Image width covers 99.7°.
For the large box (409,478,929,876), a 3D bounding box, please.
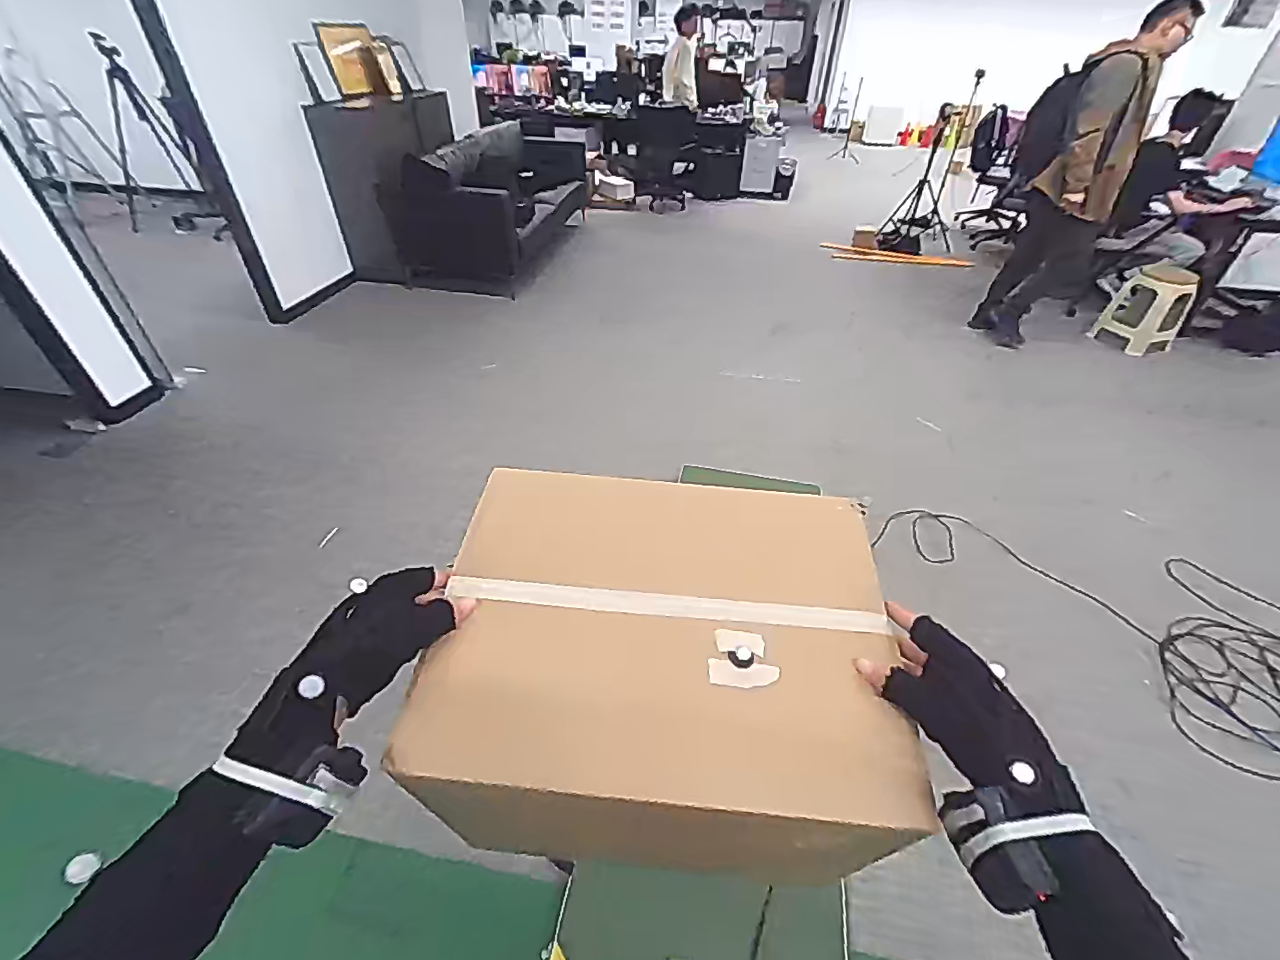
[{"bbox_3d":[0.023,0.224,0.614,0.408,0.320,0.320,5,47,1],"label":"large box"}]
